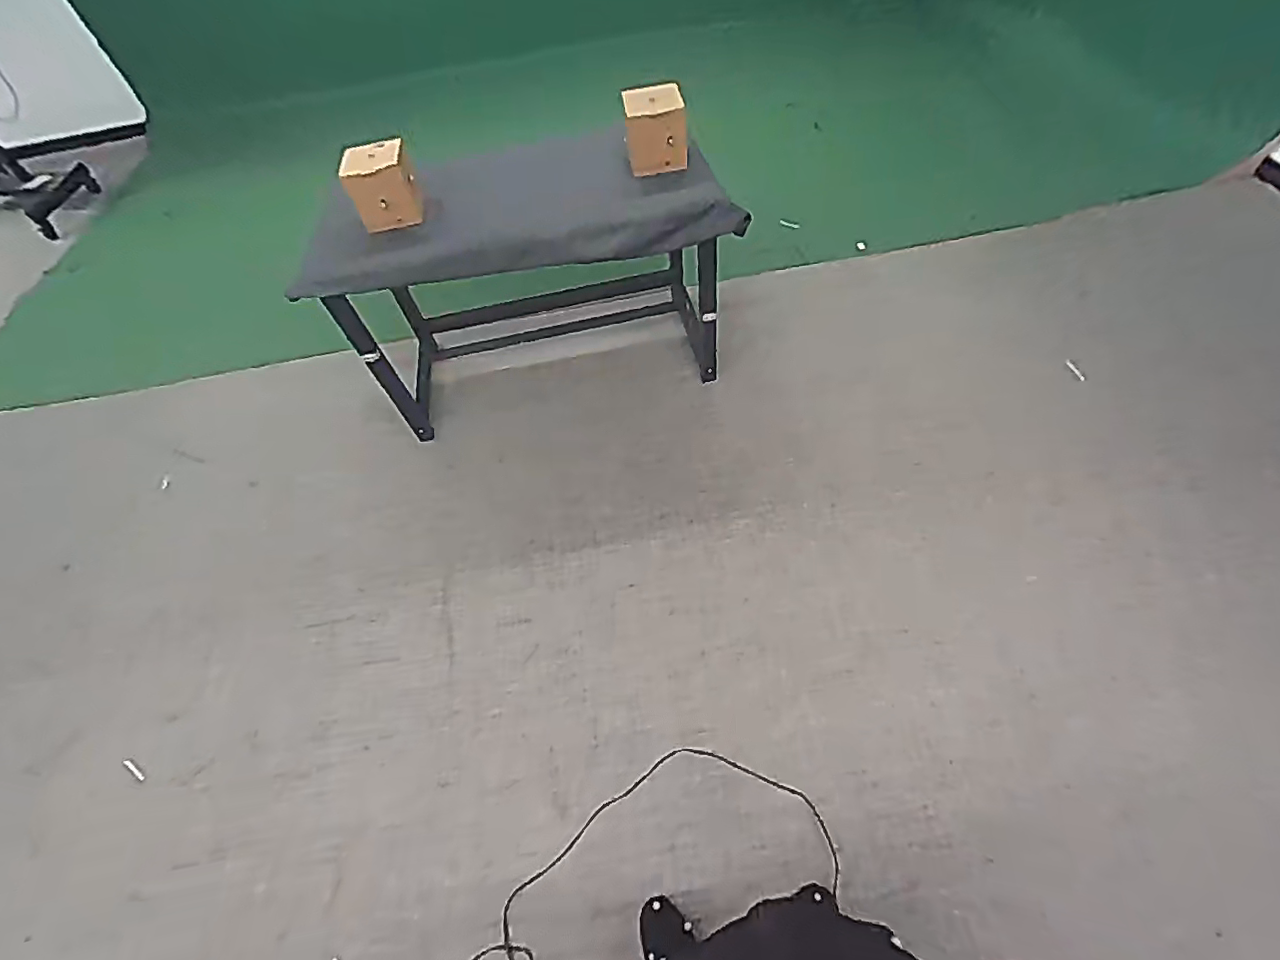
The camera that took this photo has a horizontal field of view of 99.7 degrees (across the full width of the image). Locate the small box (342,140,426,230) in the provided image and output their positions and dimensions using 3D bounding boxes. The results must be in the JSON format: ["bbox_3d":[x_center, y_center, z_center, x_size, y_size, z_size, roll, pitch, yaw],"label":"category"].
[{"bbox_3d":[-0.743,-0.857,1.589,0.168,0.176,0.179,-12,55,-2],"label":"small box"}]

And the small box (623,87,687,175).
[{"bbox_3d":[0.045,-1.030,1.610,0.168,0.176,0.179,-9,54,0],"label":"small box"}]
